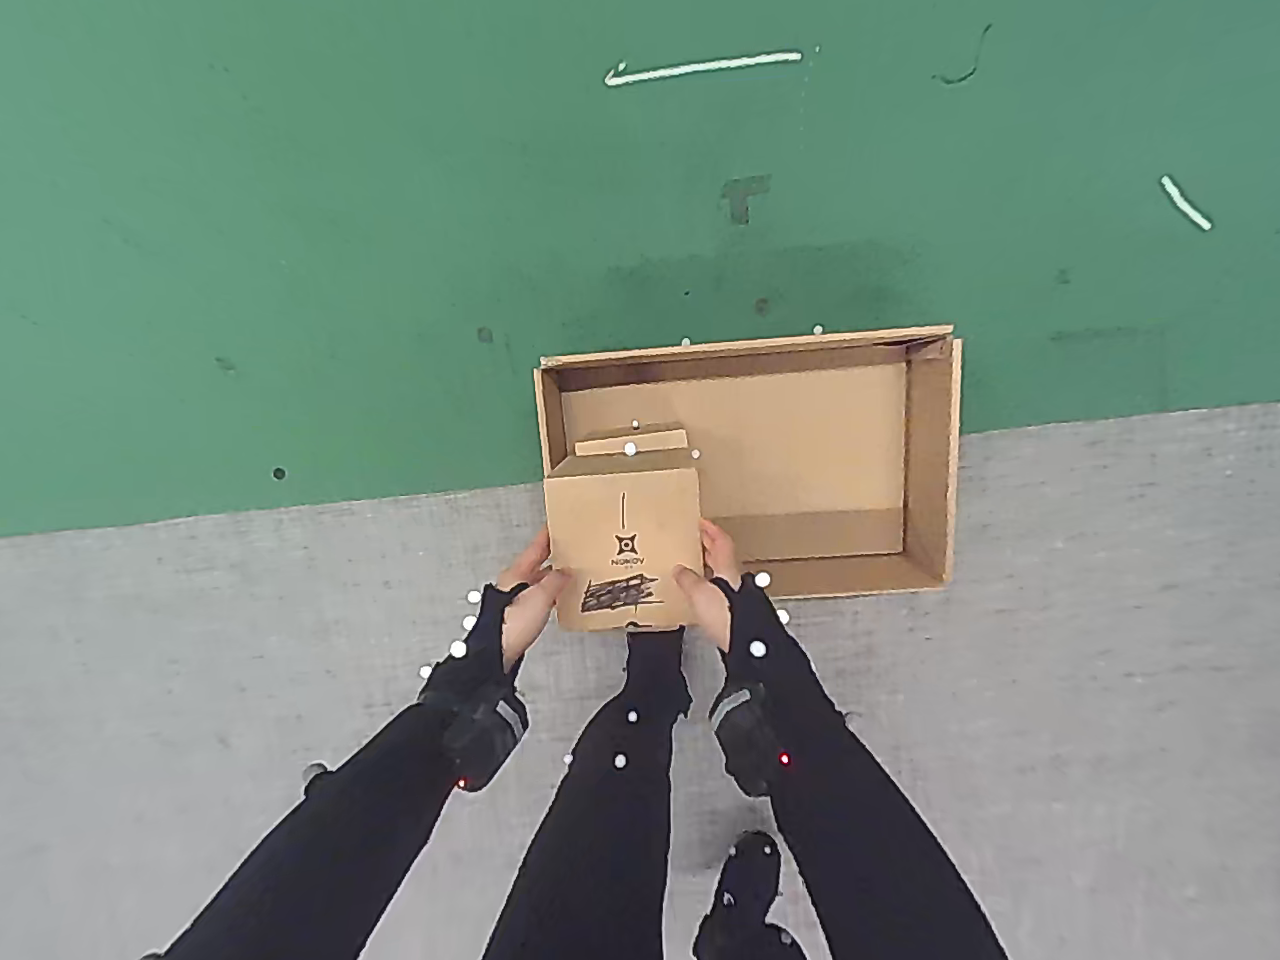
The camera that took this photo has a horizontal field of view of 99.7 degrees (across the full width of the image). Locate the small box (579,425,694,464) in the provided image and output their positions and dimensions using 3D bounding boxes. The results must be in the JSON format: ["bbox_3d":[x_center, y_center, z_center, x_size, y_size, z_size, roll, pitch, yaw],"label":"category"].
[{"bbox_3d":[0.003,0.007,0.867,0.168,0.176,0.179,-7,101,4],"label":"small box"}]

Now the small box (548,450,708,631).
[{"bbox_3d":[-0.008,0.064,0.658,0.168,0.176,0.179,-4,100,2],"label":"small box"}]
